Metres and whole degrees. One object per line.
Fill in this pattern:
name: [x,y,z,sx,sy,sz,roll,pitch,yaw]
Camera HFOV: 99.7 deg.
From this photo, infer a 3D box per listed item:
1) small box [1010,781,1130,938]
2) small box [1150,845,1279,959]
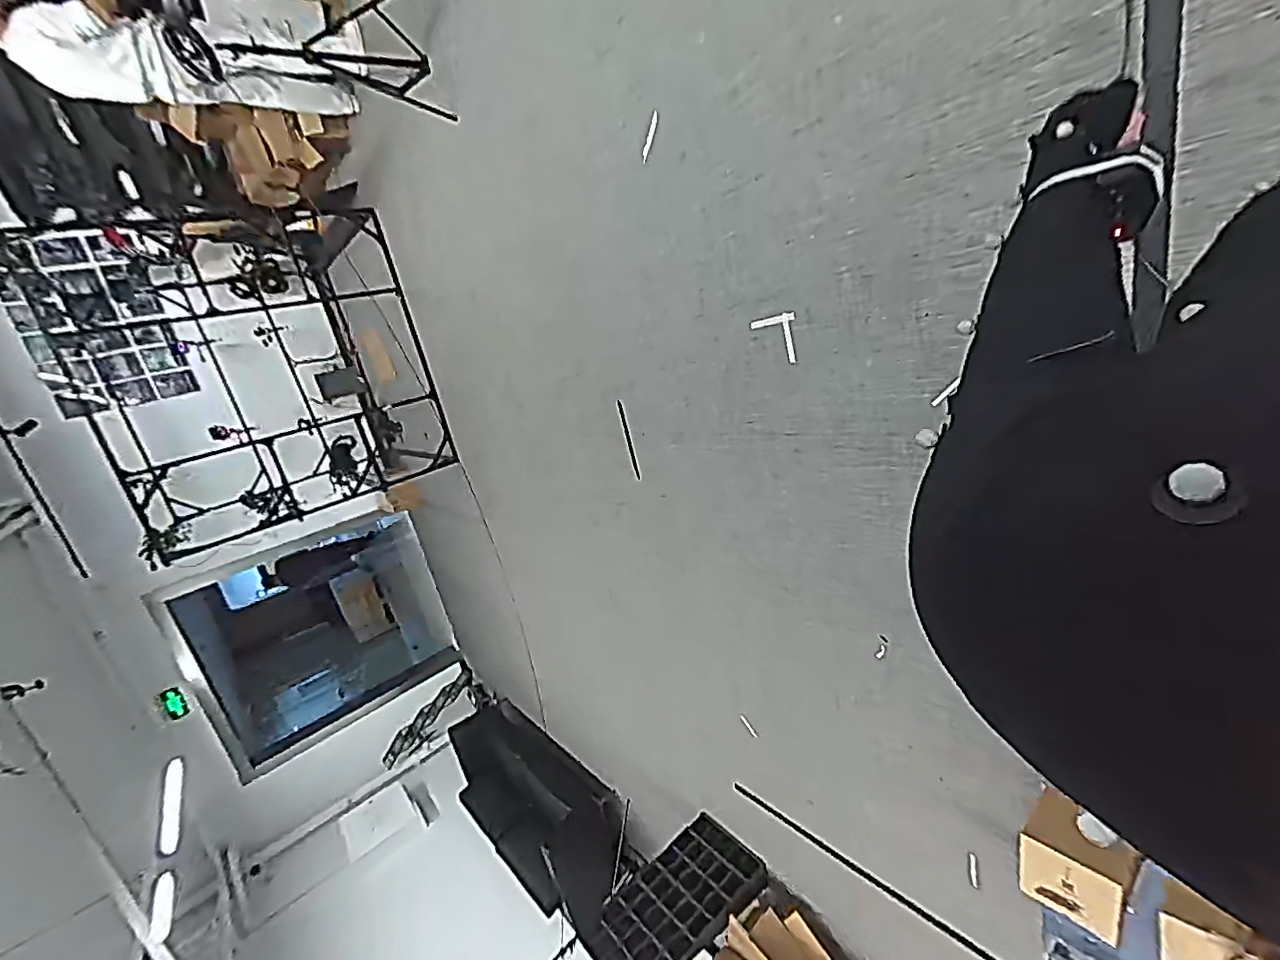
small box: [0.919,0.801,1.158,0.168,0.176,0.179,11,119,50]
small box: [1.059,0.826,0.988,0.168,0.176,0.179,4,113,53]
